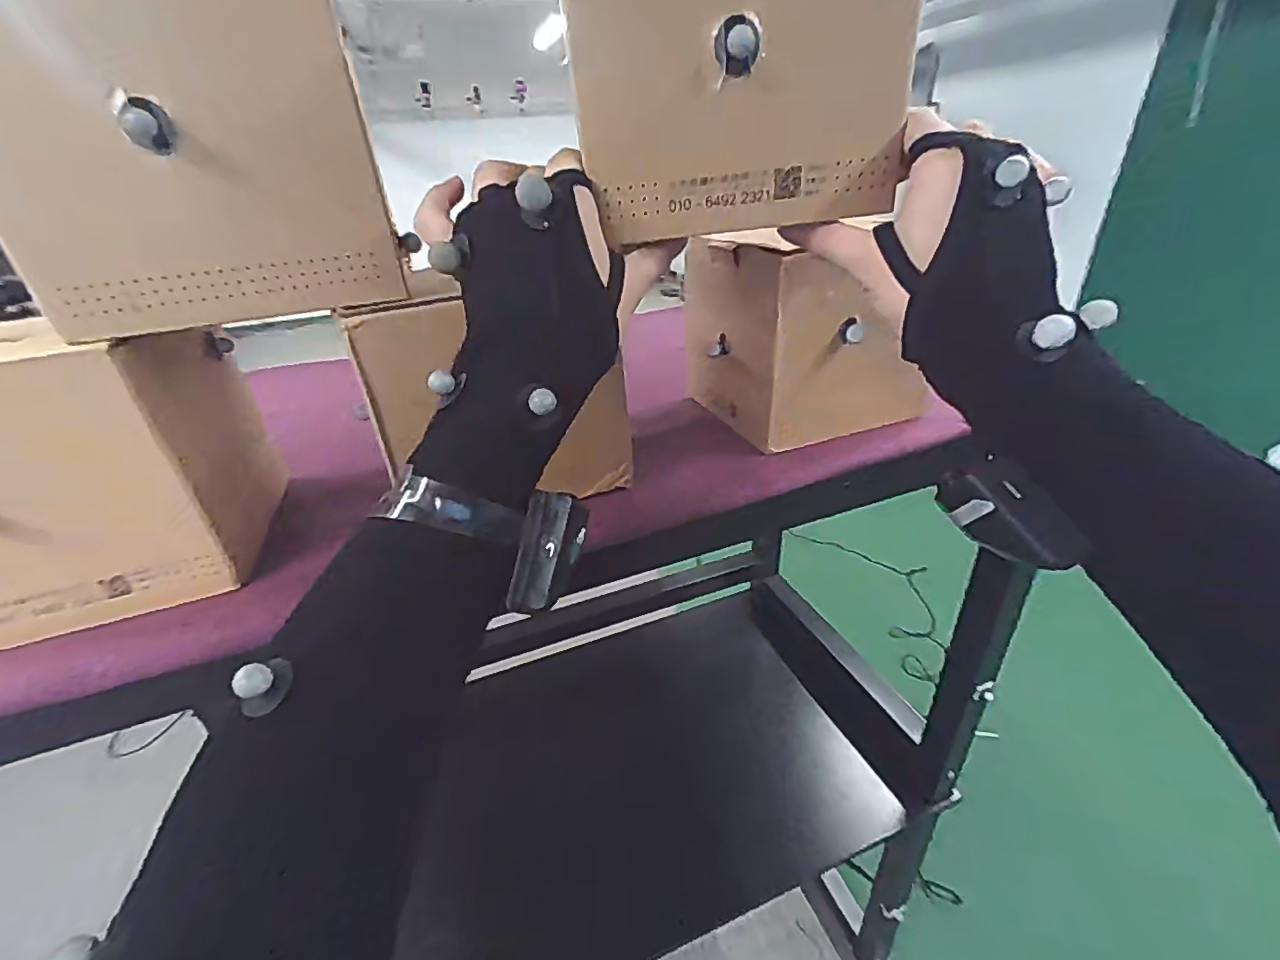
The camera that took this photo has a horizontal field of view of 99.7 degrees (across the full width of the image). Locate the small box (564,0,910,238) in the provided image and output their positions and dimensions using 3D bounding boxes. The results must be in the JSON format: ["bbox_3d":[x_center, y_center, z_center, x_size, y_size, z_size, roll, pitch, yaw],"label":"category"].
[{"bbox_3d":[0.044,-0.247,0.322,0.168,0.176,0.179,-7,31,-2],"label":"small box"}]

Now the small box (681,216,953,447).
[{"bbox_3d":[0.155,-0.148,0.518,0.179,0.176,0.168,-16,33,-16],"label":"small box"}]

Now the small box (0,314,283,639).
[{"bbox_3d":[-0.373,-0.014,0.365,0.168,0.176,0.179,-14,30,-17],"label":"small box"}]

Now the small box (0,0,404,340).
[{"bbox_3d":[-0.254,-0.196,0.332,0.179,0.176,0.168,-16,31,-17],"label":"small box"}]

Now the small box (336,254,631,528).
[{"bbox_3d":[-0.117,-0.081,0.443,0.179,0.176,0.168,-13,30,-16],"label":"small box"}]
